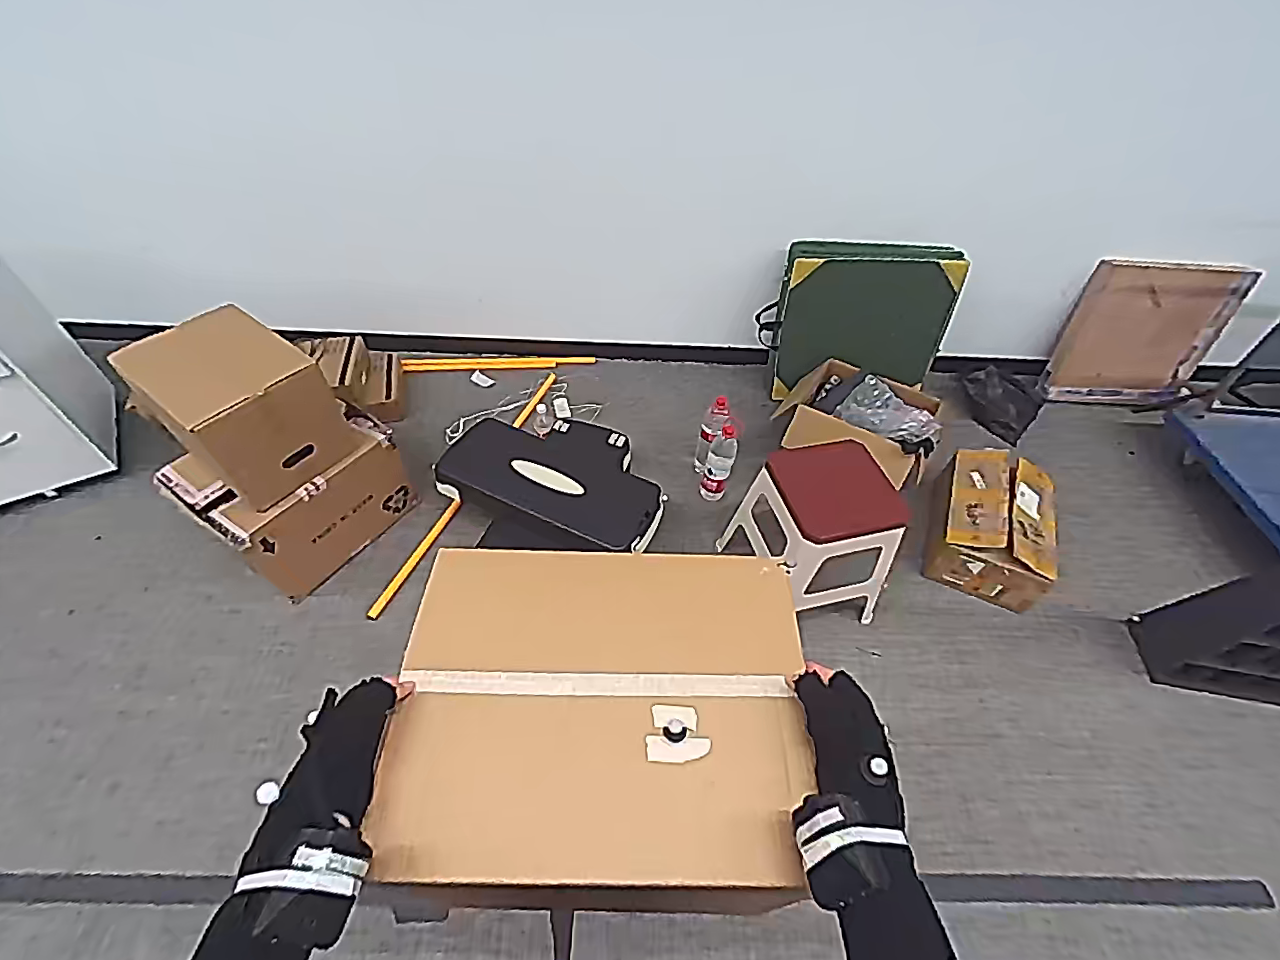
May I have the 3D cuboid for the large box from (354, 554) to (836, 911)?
[{"bbox_3d":[-0.041,0.305,0.647,0.408,0.320,0.320,2,48,-1],"label":"large box"}]
